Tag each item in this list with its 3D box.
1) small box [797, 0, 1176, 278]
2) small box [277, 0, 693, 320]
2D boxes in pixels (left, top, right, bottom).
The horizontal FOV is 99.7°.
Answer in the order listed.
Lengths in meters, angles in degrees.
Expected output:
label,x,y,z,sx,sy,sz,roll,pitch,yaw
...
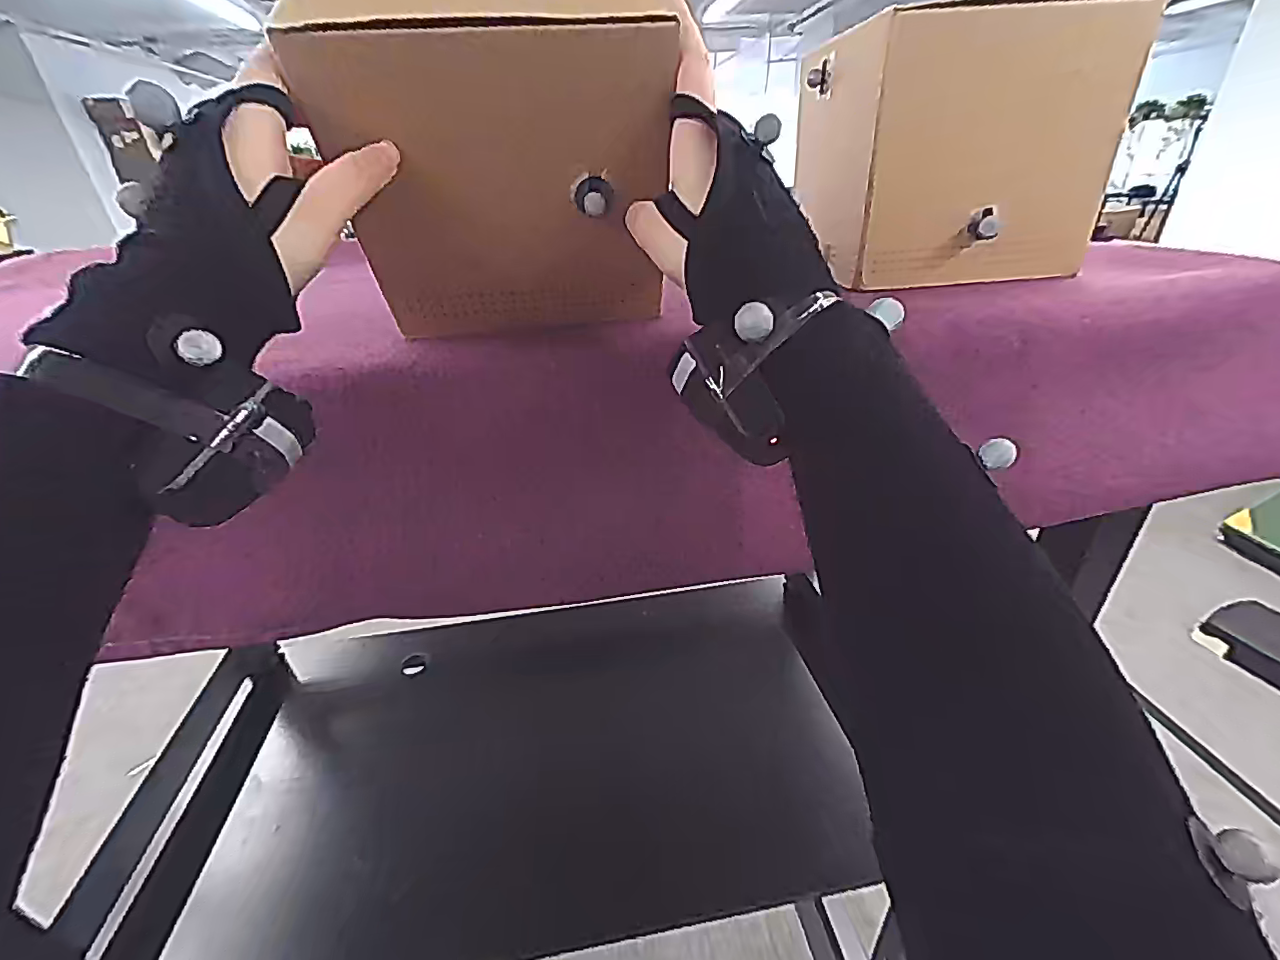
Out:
label,x,y,z,sx,sy,sz,roll,pitch,yaw
small box,0.239,-0.264,0.429,0.179,0.176,0.168,-5,29,-2
small box,-0.076,-0.221,0.337,0.179,0.176,0.168,-7,56,-6
